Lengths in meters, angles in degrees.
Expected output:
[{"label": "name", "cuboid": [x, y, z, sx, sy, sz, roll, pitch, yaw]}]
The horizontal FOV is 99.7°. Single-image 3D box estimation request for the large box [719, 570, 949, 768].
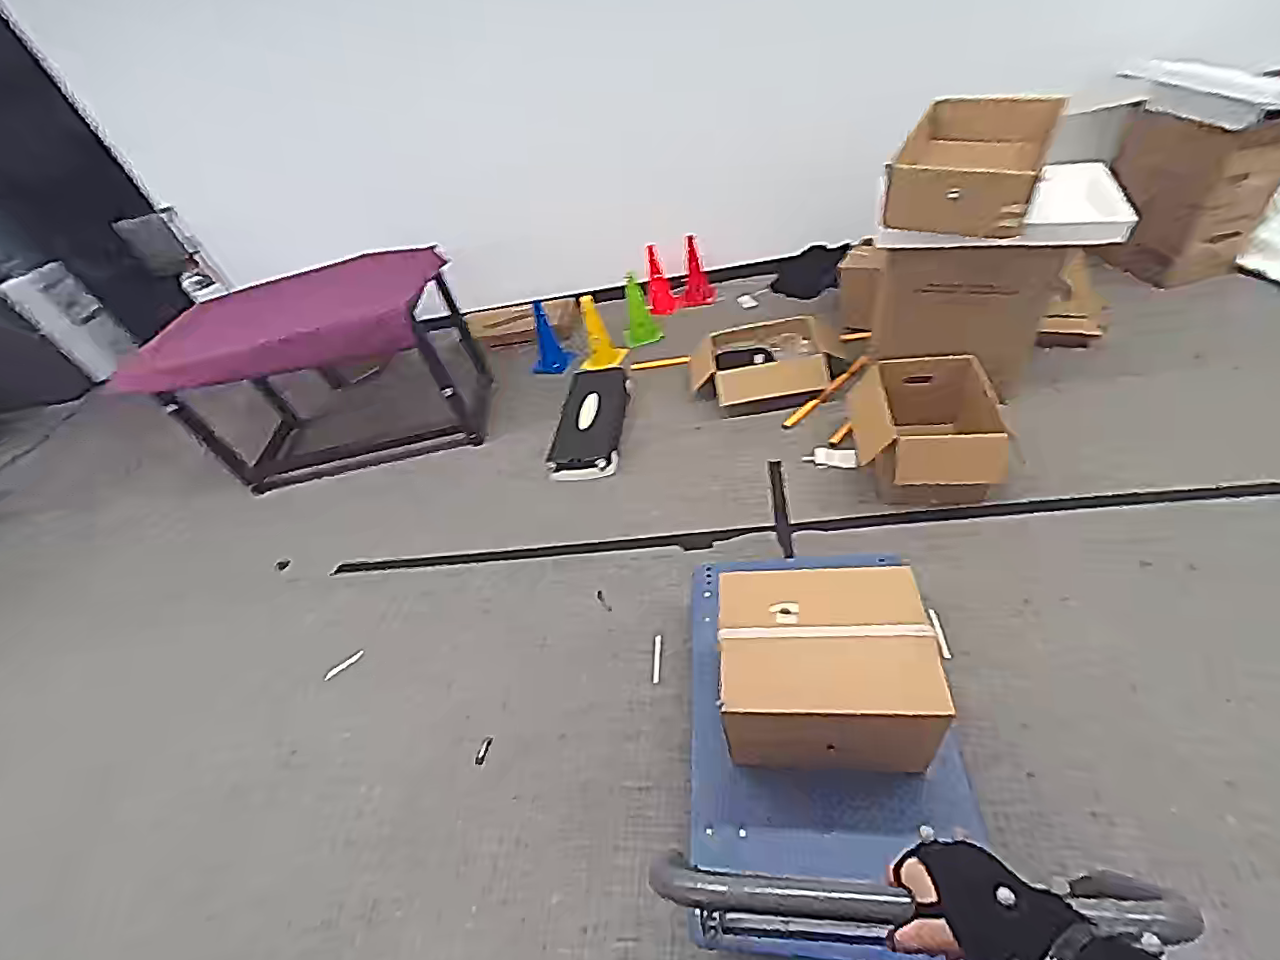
[{"label": "large box", "cuboid": [0.394, 0.422, 1.190, 0.408, 0.320, 0.320, -5, 44, 13]}]
